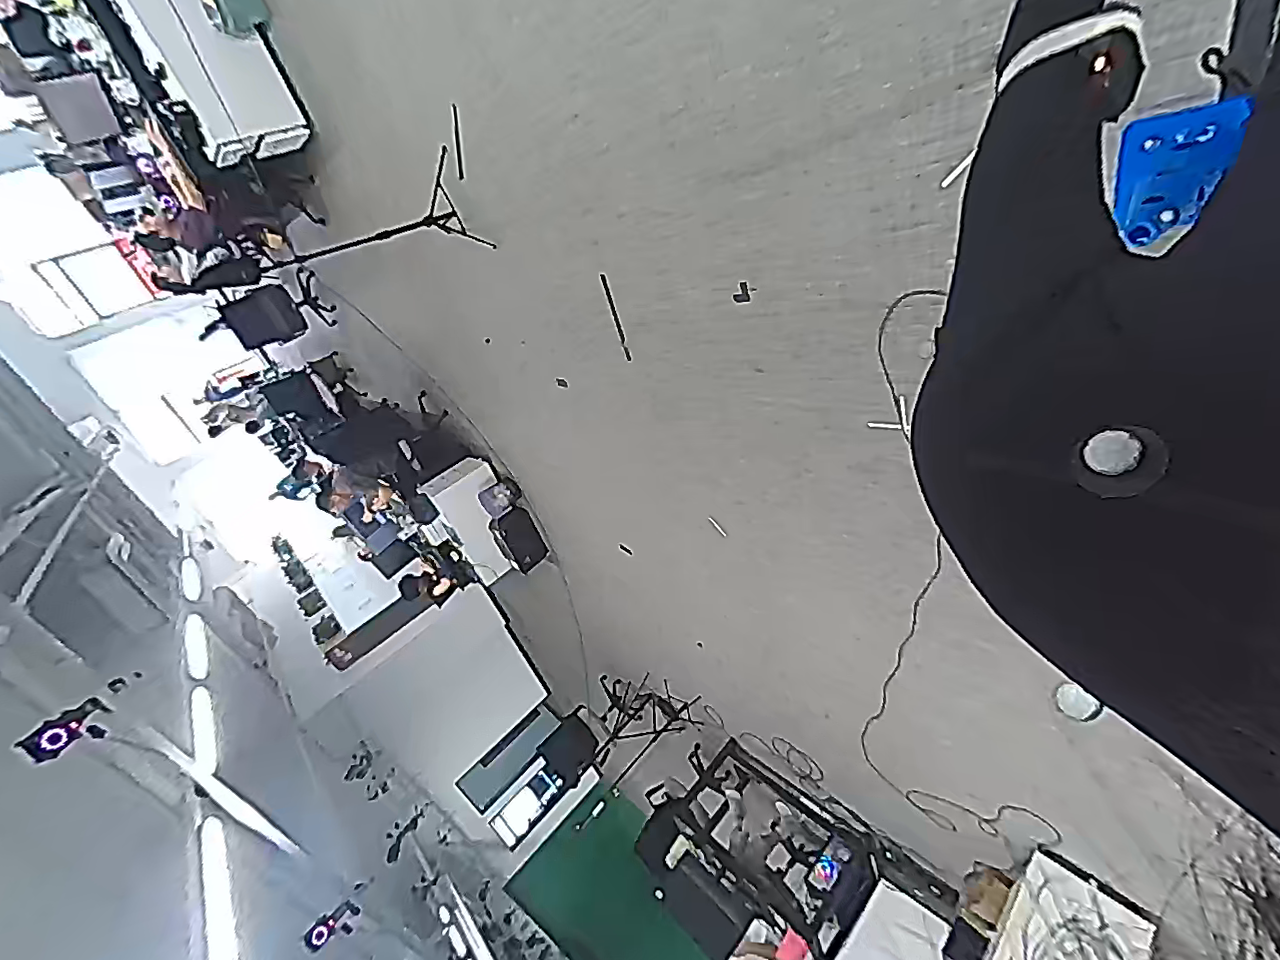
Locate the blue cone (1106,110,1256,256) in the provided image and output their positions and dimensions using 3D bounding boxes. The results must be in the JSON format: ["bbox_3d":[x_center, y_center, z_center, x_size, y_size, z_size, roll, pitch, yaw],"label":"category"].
[{"bbox_3d":[0.861,-0.450,0.909,0.193,0.380,0.192,15,135,48],"label":"blue cone"}]
